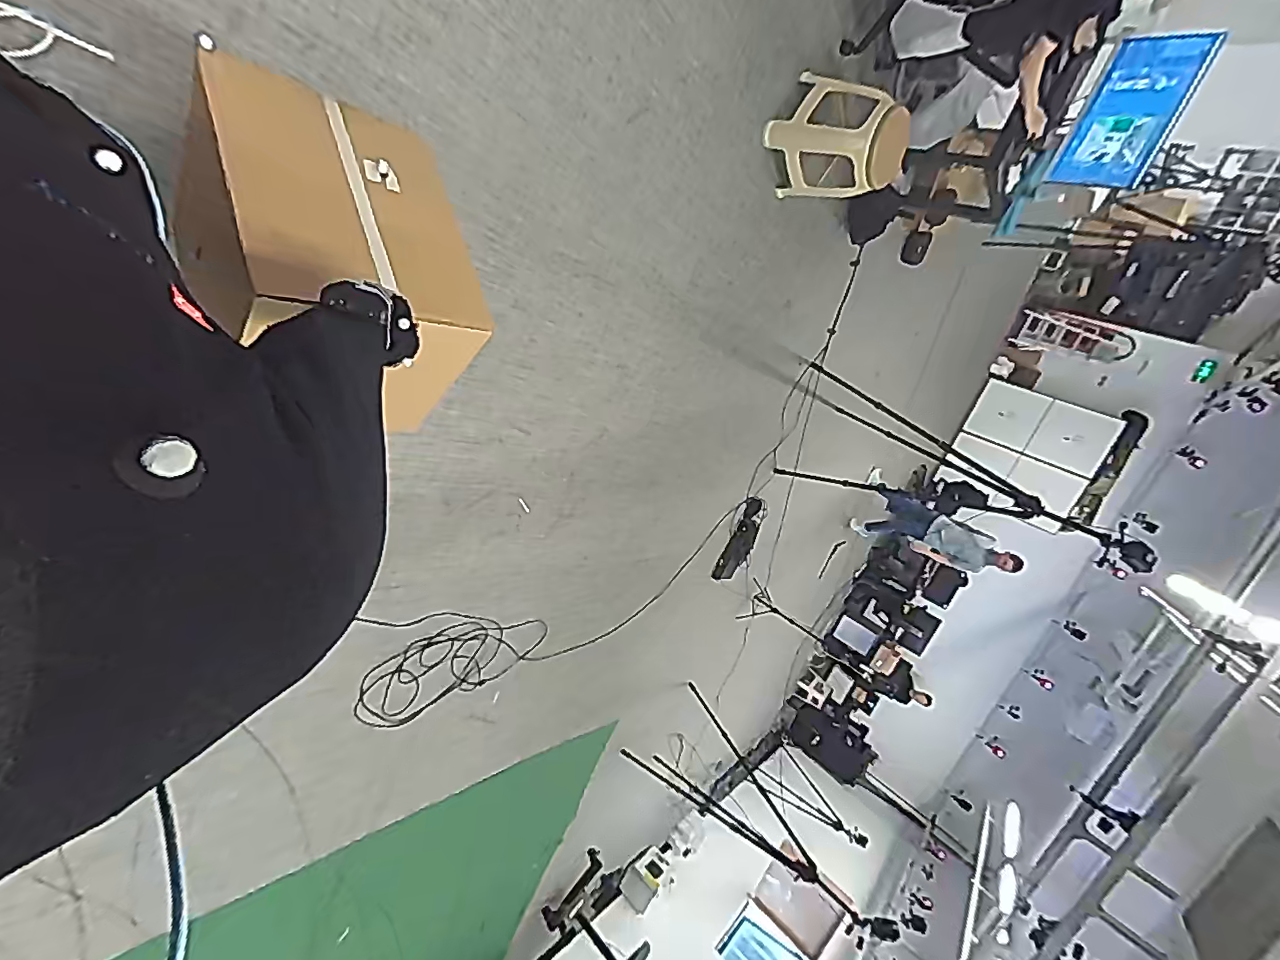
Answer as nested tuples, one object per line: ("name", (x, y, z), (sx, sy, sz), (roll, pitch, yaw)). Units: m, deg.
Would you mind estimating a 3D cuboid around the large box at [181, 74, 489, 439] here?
("large box", (-0.507, -0.316, 0.879), (0.320, 0.408, 0.320), (-6, 157, -48))
